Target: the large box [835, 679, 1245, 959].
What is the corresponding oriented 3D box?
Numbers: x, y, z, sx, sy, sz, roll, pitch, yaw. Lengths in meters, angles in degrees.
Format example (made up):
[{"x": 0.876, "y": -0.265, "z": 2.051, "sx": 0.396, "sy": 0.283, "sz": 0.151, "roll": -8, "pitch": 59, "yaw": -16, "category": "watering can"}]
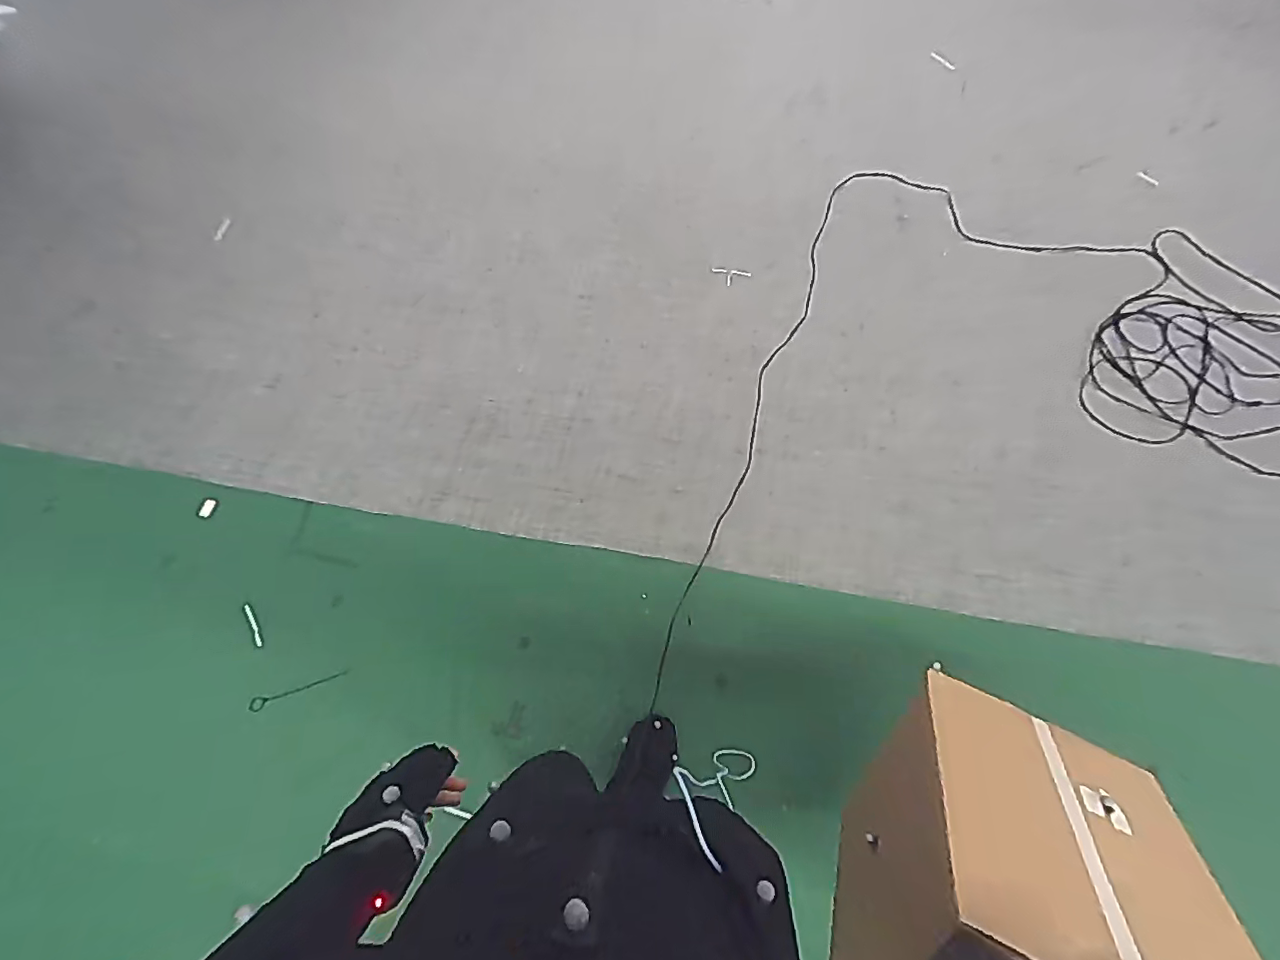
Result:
[{"x": 0.456, "y": 0.551, "z": 0.681, "sx": 0.320, "sy": 0.408, "sz": 0.320, "roll": 26, "pitch": 113, "yaw": 15, "category": "large box"}]
